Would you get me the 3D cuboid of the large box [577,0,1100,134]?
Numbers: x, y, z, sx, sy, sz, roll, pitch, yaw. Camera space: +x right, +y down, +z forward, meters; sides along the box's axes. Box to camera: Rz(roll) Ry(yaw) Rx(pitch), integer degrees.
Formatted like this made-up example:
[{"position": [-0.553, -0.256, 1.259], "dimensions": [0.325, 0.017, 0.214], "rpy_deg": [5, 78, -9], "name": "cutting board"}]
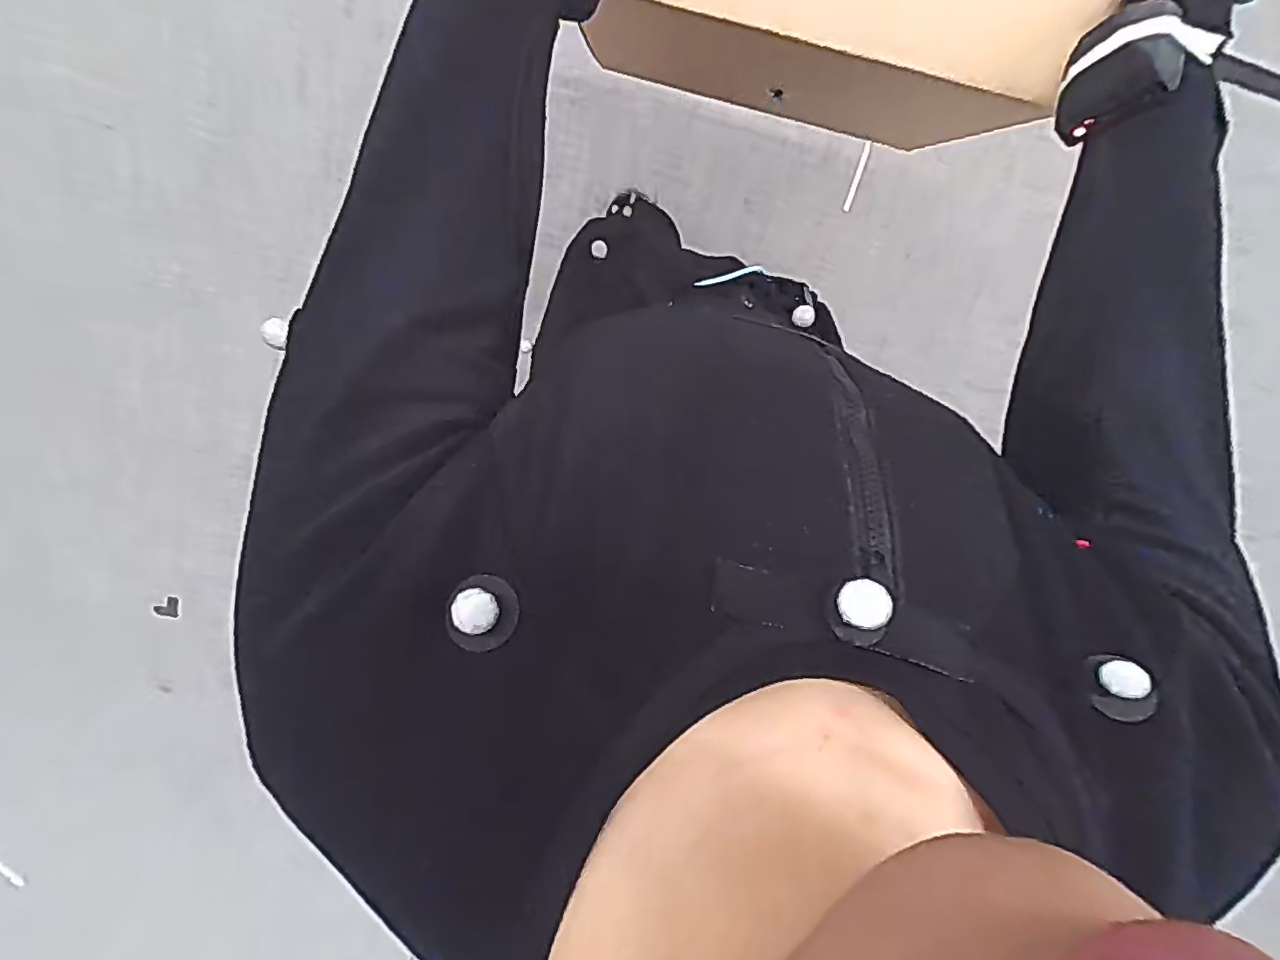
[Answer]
[{"position": [0.172, -0.539, 0.473], "dimensions": [0.408, 0.320, 0.320], "rpy_deg": [13, 116, -3], "name": "large box"}]
